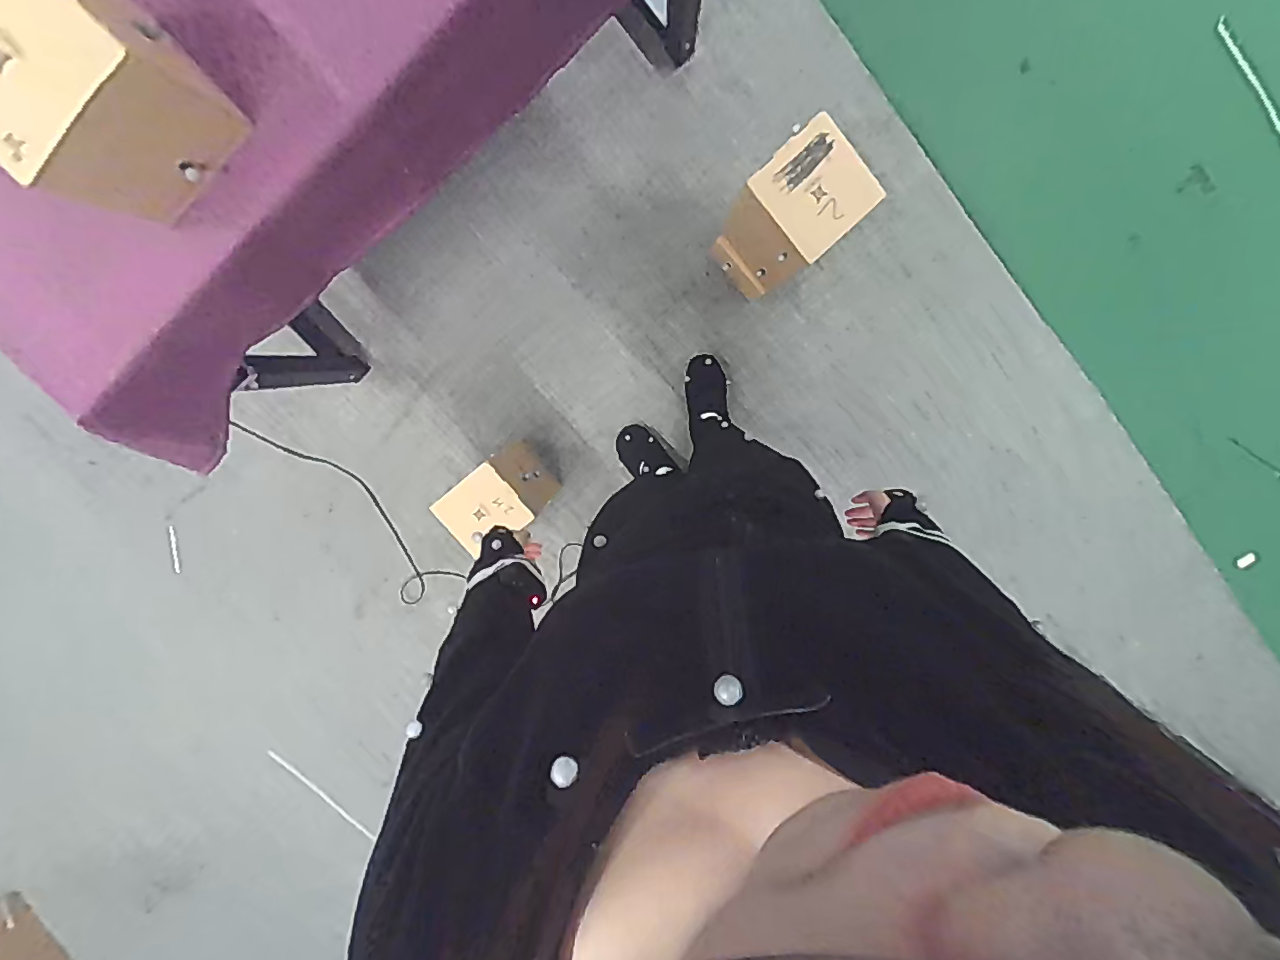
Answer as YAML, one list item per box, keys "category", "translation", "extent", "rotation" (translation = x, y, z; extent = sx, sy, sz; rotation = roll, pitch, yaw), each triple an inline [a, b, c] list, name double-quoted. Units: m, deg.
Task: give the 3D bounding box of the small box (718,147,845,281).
- category: "small box"
  translation: [0.285, -0.537, 1.125]
  extent: [0.168, 0.176, 0.179]
  rotation: [-40, 99, 7]

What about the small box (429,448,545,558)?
- category: "small box"
  translation: [-0.346, 0.047, 1.263]
  extent: [0.179, 0.176, 0.168]
  rotation: [-38, 99, 8]

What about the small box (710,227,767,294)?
- category: "small box"
  translation: [0.281, -0.566, 1.286]
  extent: [0.179, 0.176, 0.168]
  rotation: [-42, 99, 9]

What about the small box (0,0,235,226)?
- category: "small box"
  translation: [-0.594, -0.415, 0.583]
  extent: [0.179, 0.176, 0.168]
  rotation: [-42, 98, 8]
